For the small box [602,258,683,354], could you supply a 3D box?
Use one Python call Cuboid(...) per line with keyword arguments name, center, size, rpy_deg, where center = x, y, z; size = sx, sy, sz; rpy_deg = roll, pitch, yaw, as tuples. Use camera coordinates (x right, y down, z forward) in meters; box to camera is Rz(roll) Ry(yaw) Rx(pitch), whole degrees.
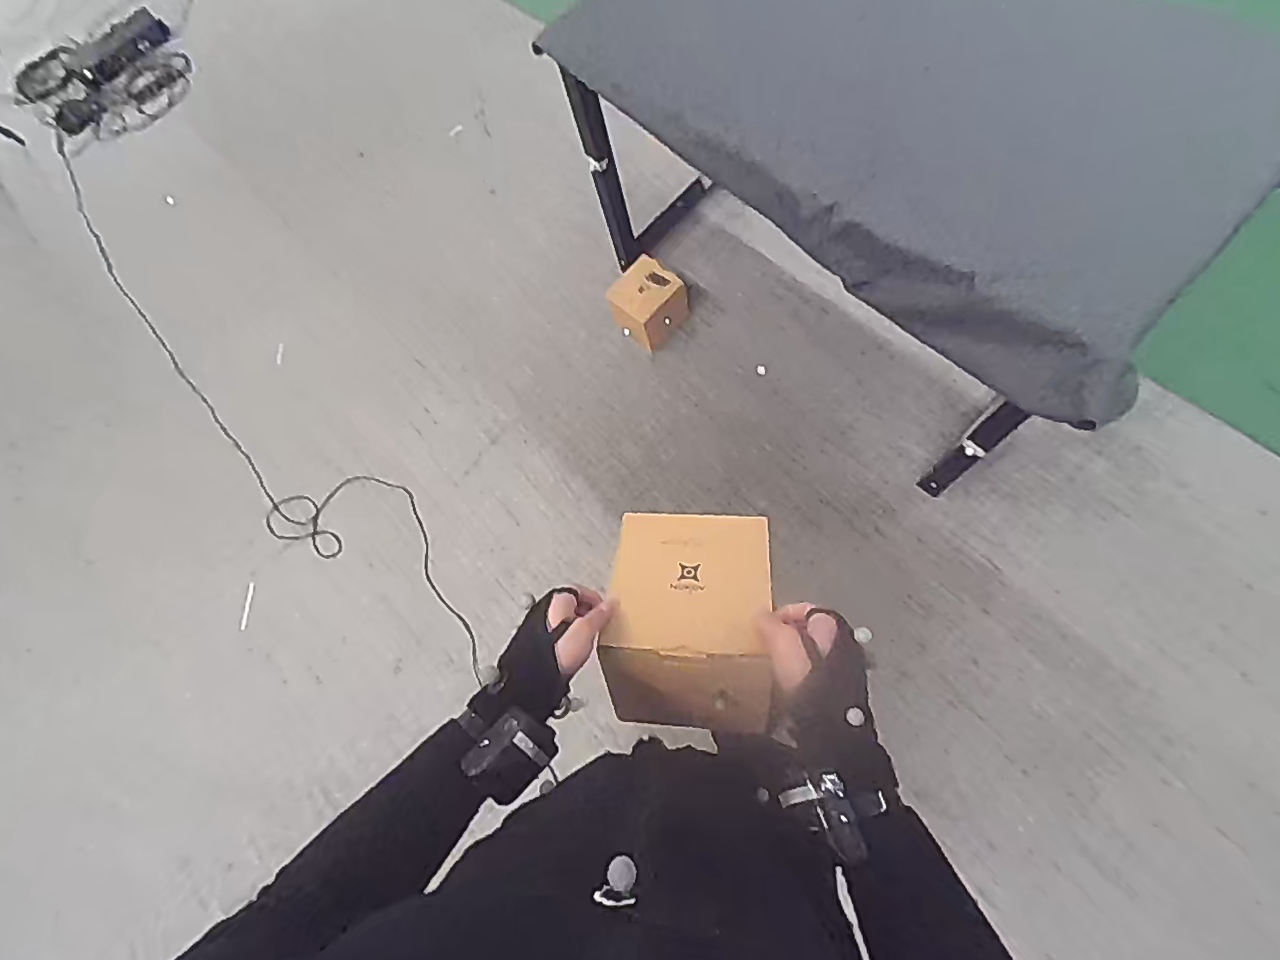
Cuboid(name="small box", center=(0.014, -0.518, 1.630), size=(0.168, 0.176, 0.179), rpy_deg=(41, 85, 20))
